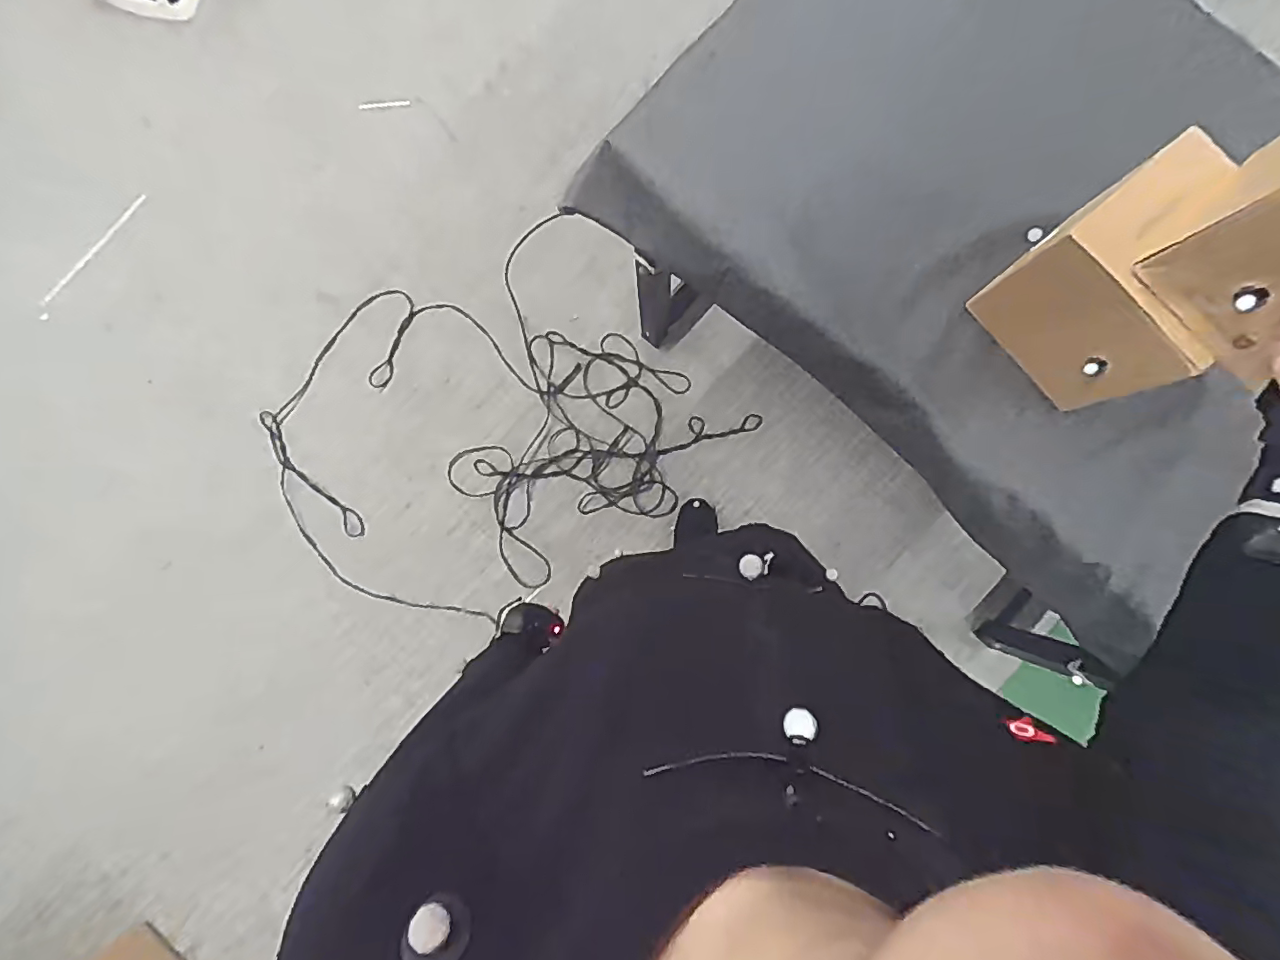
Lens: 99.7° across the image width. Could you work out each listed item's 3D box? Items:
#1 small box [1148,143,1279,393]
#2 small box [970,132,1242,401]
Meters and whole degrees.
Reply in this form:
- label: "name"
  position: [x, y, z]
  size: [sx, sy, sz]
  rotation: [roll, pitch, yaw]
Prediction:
- label: "small box"
  position: [0.562, -0.193, 0.407]
  size: [0.179, 0.176, 0.168]
  rotation: [-41, 87, -3]
- label: "small box"
  position: [0.508, -0.201, 0.571]
  size: [0.168, 0.176, 0.179]
  rotation: [-40, 85, -3]
